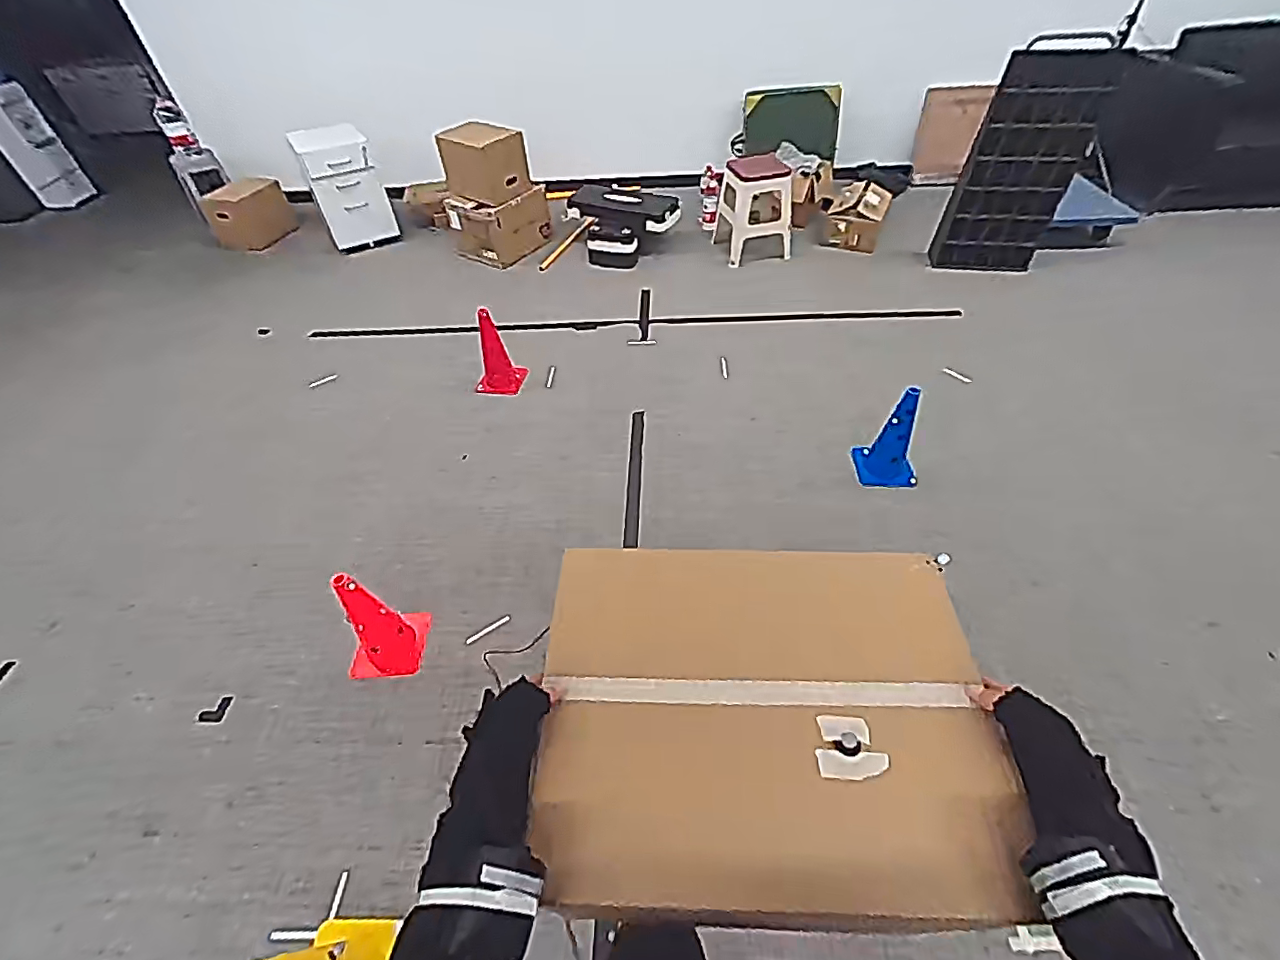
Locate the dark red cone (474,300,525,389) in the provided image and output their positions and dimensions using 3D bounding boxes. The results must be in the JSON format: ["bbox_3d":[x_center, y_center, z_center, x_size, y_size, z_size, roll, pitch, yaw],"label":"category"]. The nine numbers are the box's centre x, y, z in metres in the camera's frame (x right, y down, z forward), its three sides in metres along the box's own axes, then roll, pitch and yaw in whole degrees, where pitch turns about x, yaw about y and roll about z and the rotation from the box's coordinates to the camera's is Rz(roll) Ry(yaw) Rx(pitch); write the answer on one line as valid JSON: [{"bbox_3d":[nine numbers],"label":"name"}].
[{"bbox_3d":[-0.644,-0.591,2.348,0.201,0.394,0.202,4,47,6],"label":"dark red cone"}]

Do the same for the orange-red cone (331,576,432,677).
[{"bbox_3d":[-0.743,0.374,1.483,0.198,0.360,0.199,-3,48,2],"label":"orange-red cone"}]

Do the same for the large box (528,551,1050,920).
[{"bbox_3d":[0.114,0.293,0.615,0.408,0.320,0.320,0,49,2],"label":"large box"}]

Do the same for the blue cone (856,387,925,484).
[{"bbox_3d":[0.910,-0.167,1.904,0.192,0.380,0.193,2,47,4],"label":"blue cone"}]
